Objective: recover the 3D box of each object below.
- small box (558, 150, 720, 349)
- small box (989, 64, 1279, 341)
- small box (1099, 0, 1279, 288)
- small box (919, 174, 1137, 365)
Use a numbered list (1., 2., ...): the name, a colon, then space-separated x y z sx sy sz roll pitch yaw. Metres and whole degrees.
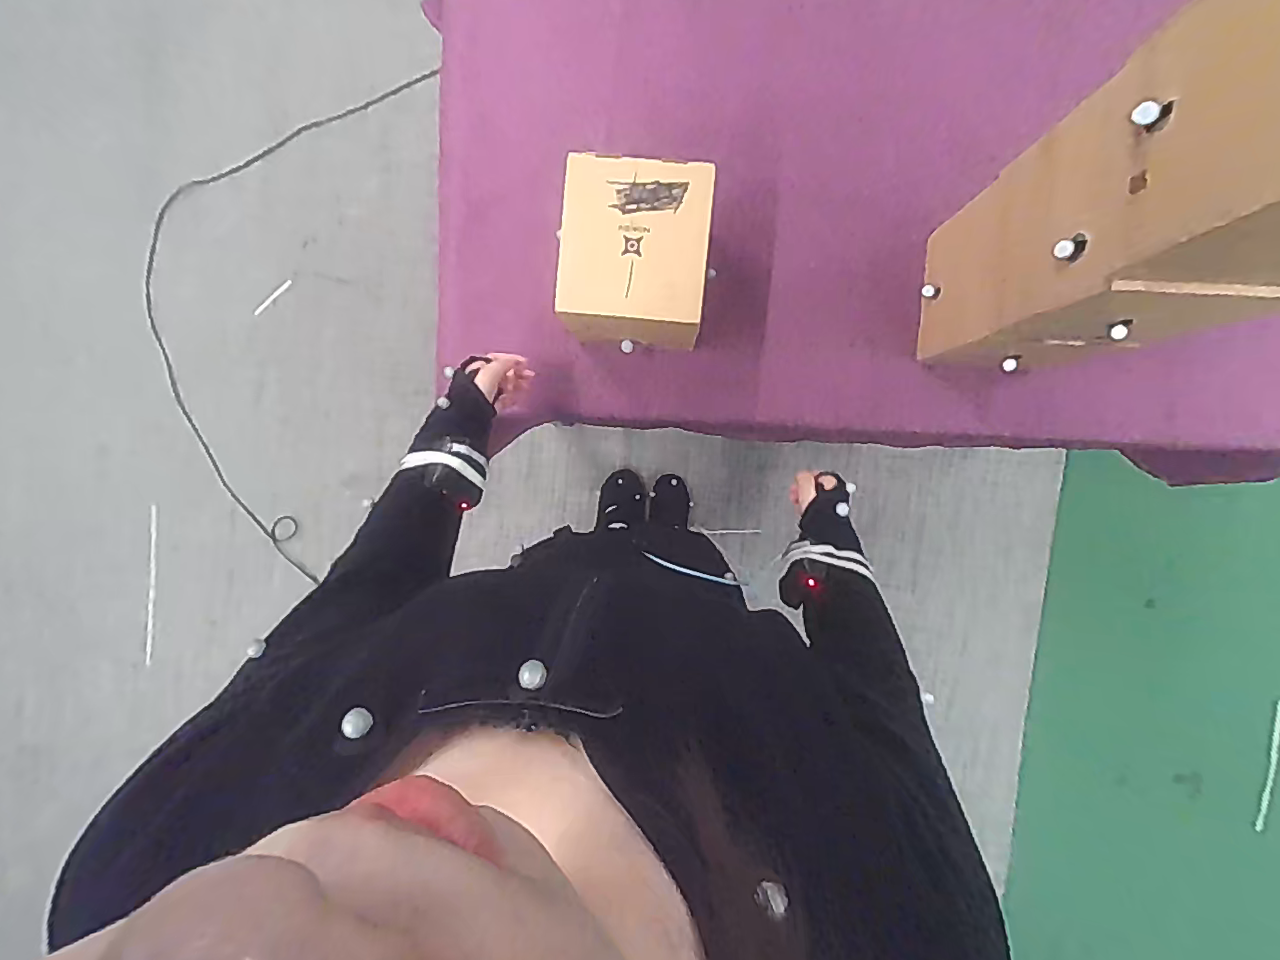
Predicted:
1. small box: 0.000 -0.273 0.675 0.168 0.176 0.179 6 94 2
2. small box: 0.455 -0.231 0.495 0.168 0.176 0.179 4 93 2
3. small box: 0.444 -0.227 0.332 0.179 0.176 0.168 4 92 3
4. small box: 0.465 -0.240 0.659 0.168 0.176 0.179 4 94 2
